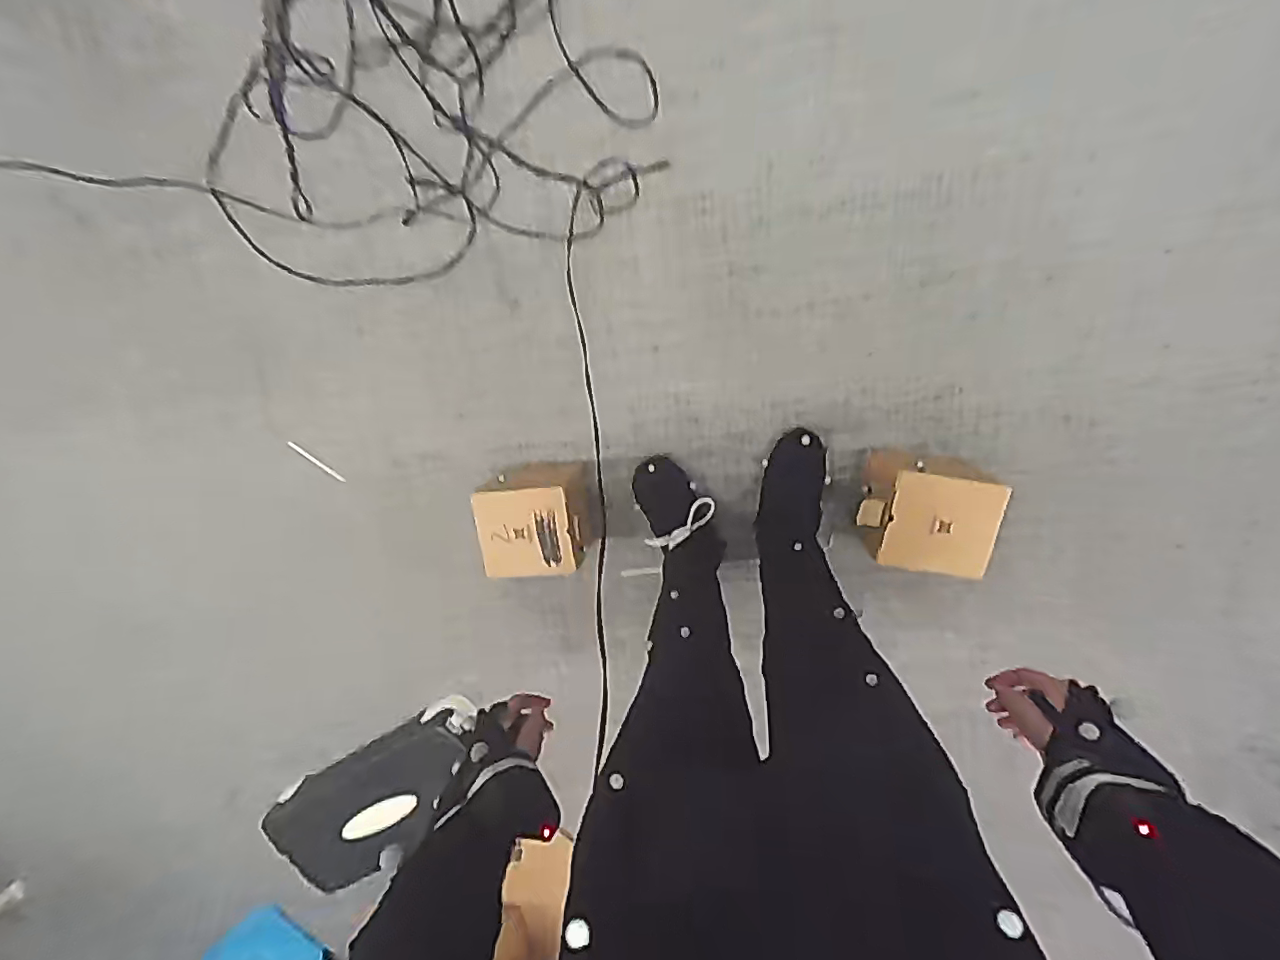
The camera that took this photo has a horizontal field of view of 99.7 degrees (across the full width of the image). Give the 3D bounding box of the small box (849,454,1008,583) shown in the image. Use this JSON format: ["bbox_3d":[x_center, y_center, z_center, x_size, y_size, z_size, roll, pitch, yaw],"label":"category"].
[{"bbox_3d":[0.492,0.060,0.950,0.179,0.176,0.168,8,108,5],"label":"small box"}]
